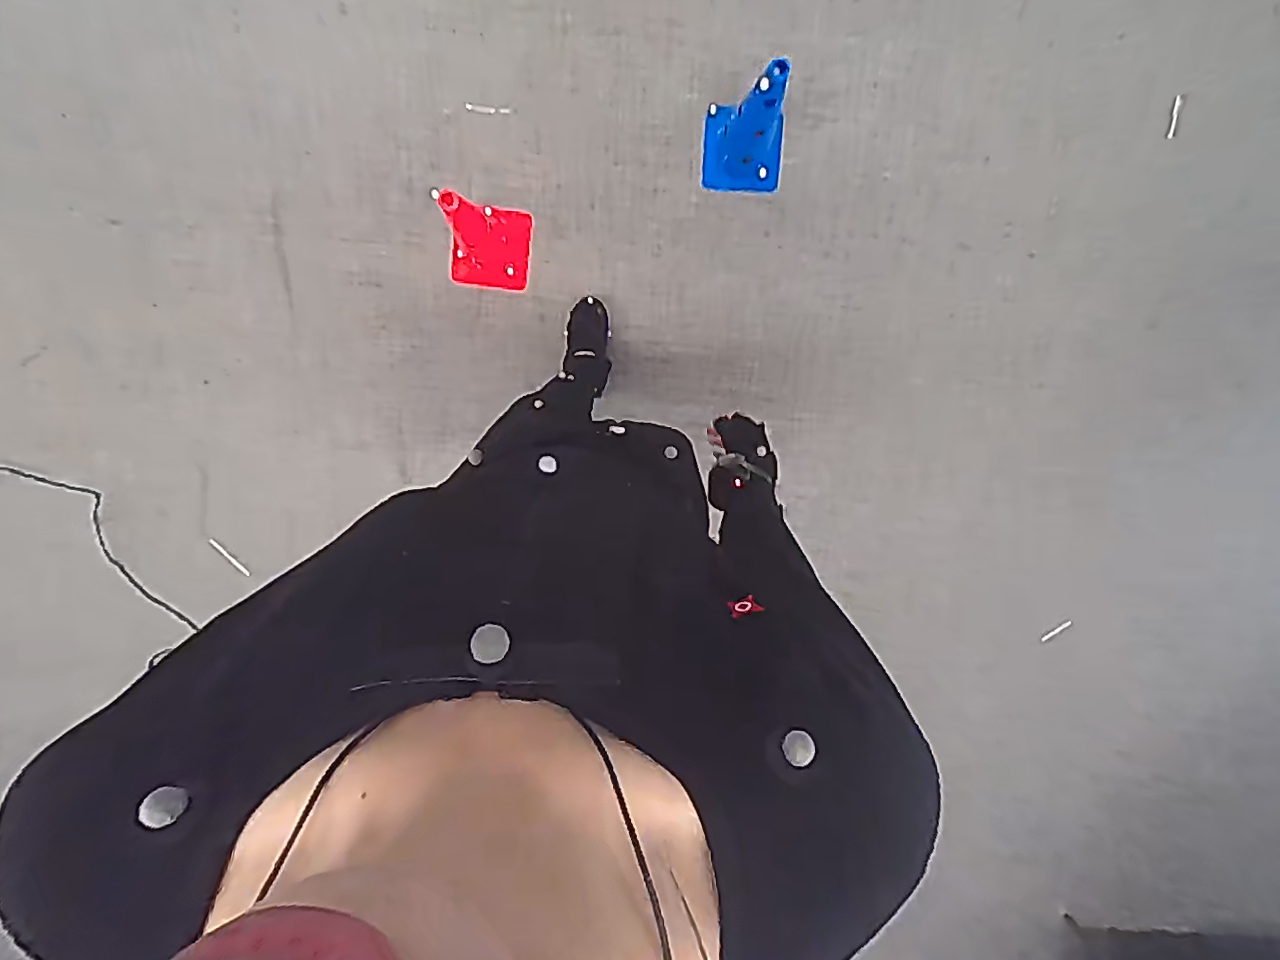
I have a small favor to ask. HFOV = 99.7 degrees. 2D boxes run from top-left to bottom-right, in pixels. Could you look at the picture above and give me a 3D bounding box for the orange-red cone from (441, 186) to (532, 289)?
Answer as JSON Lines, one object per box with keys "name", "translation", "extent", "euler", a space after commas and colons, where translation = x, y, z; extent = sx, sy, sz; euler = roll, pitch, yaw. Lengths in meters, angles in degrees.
{"name": "orange-red cone", "translation": [-0.378, -0.581, 1.222], "extent": [0.198, 0.360, 0.199], "euler": [8, 97, -4]}
